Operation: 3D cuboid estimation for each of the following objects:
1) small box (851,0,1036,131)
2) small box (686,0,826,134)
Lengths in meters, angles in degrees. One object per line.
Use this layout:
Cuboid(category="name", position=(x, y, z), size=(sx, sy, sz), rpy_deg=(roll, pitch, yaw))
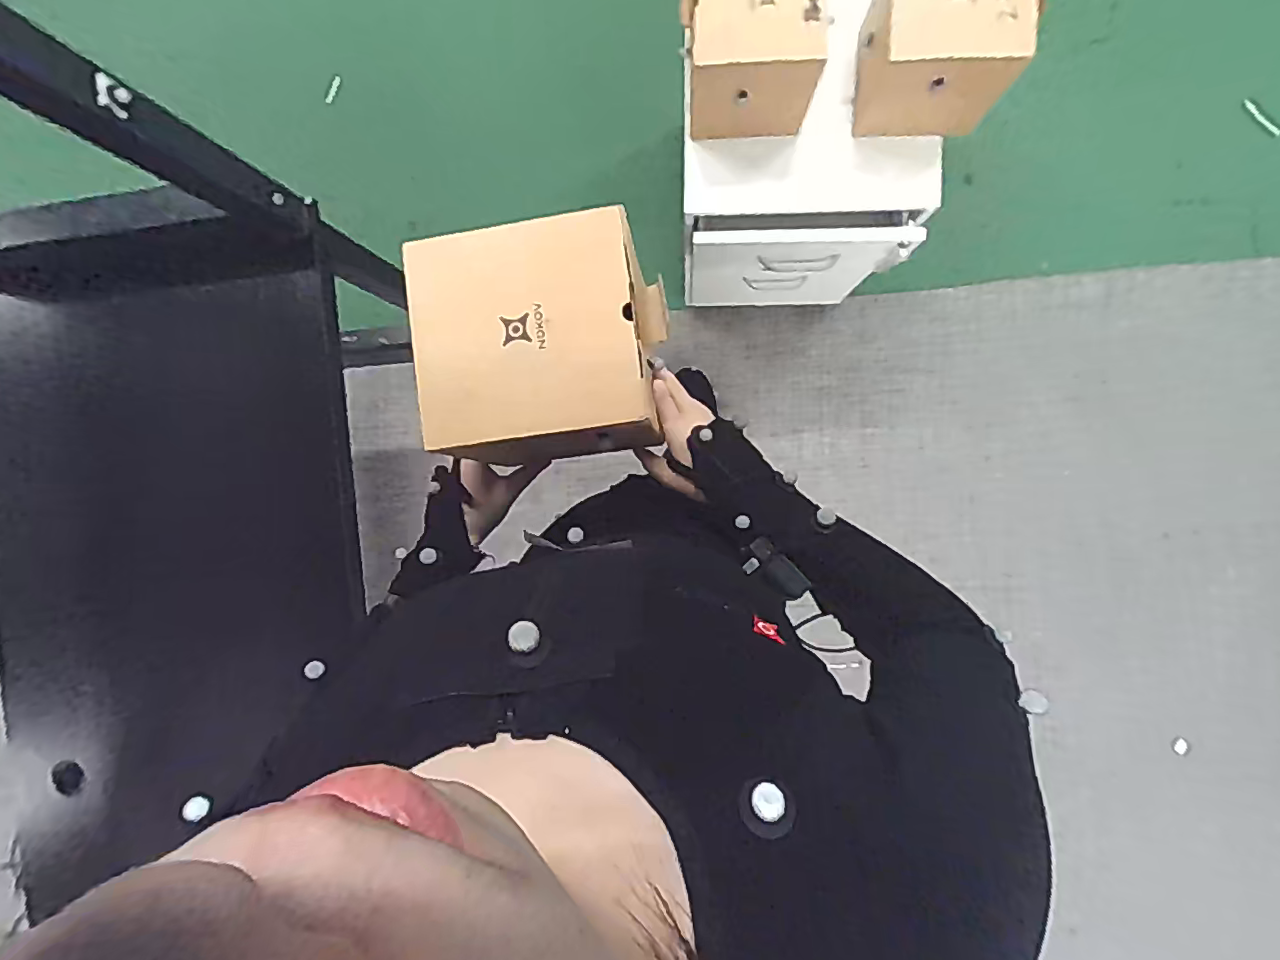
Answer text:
Cuboid(category="small box", position=(0.401, -0.607, 0.739), size=(0.179, 0.176, 0.168), rpy_deg=(2, 94, 4))
Cuboid(category="small box", position=(0.152, -0.617, 0.759), size=(0.179, 0.176, 0.168), rpy_deg=(-1, 93, 4))
